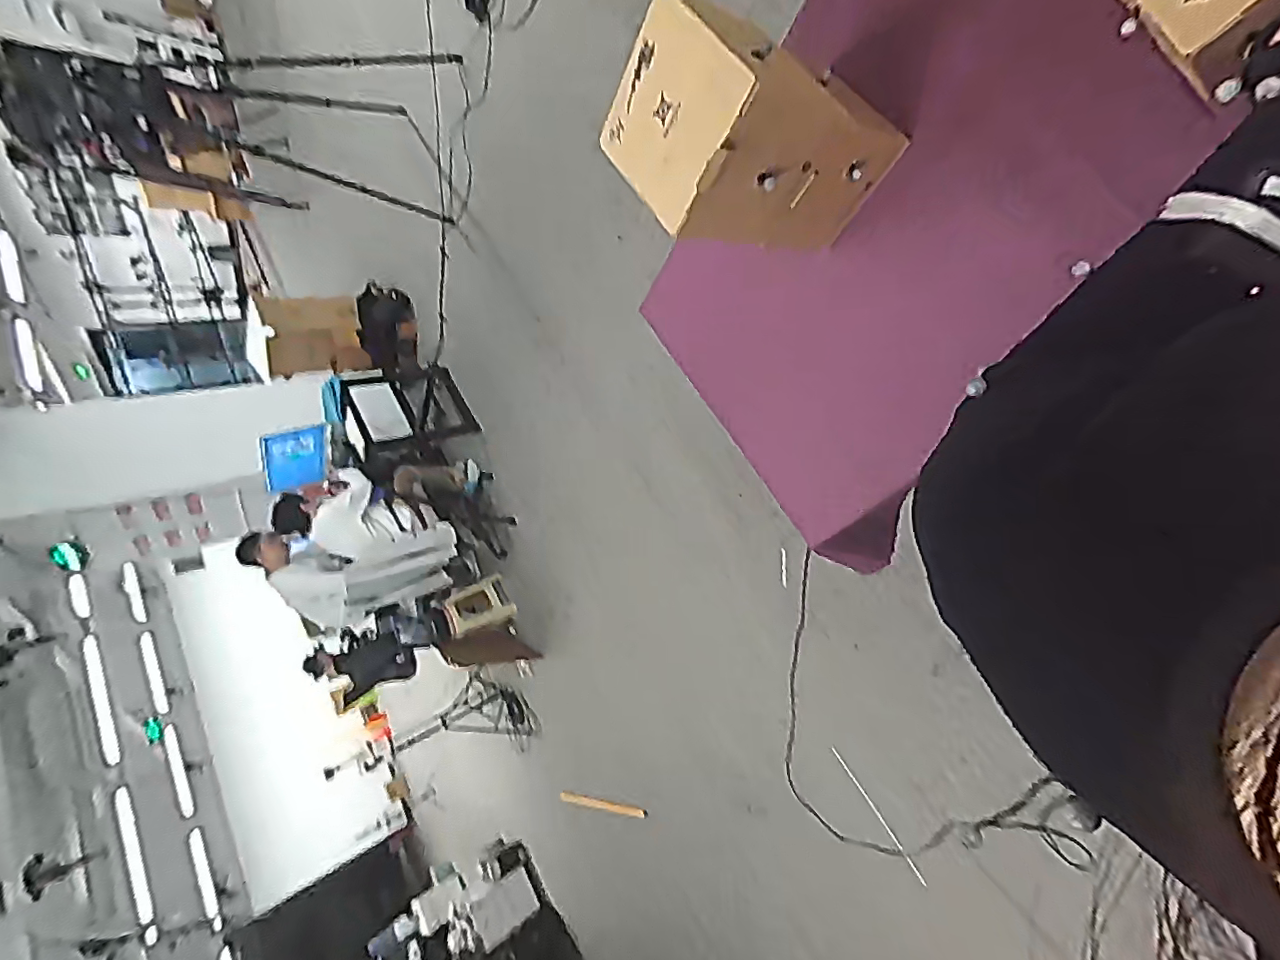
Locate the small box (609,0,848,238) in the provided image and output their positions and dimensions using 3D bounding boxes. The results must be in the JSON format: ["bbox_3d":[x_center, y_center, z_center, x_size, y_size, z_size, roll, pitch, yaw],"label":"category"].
[{"bbox_3d":[0.100,-0.405,0.622,0.179,0.176,0.168,58,139,18],"label":"small box"}]

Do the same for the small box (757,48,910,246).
[{"bbox_3d":[0.220,-0.442,0.729,0.179,0.176,0.168,58,139,19],"label":"small box"}]
